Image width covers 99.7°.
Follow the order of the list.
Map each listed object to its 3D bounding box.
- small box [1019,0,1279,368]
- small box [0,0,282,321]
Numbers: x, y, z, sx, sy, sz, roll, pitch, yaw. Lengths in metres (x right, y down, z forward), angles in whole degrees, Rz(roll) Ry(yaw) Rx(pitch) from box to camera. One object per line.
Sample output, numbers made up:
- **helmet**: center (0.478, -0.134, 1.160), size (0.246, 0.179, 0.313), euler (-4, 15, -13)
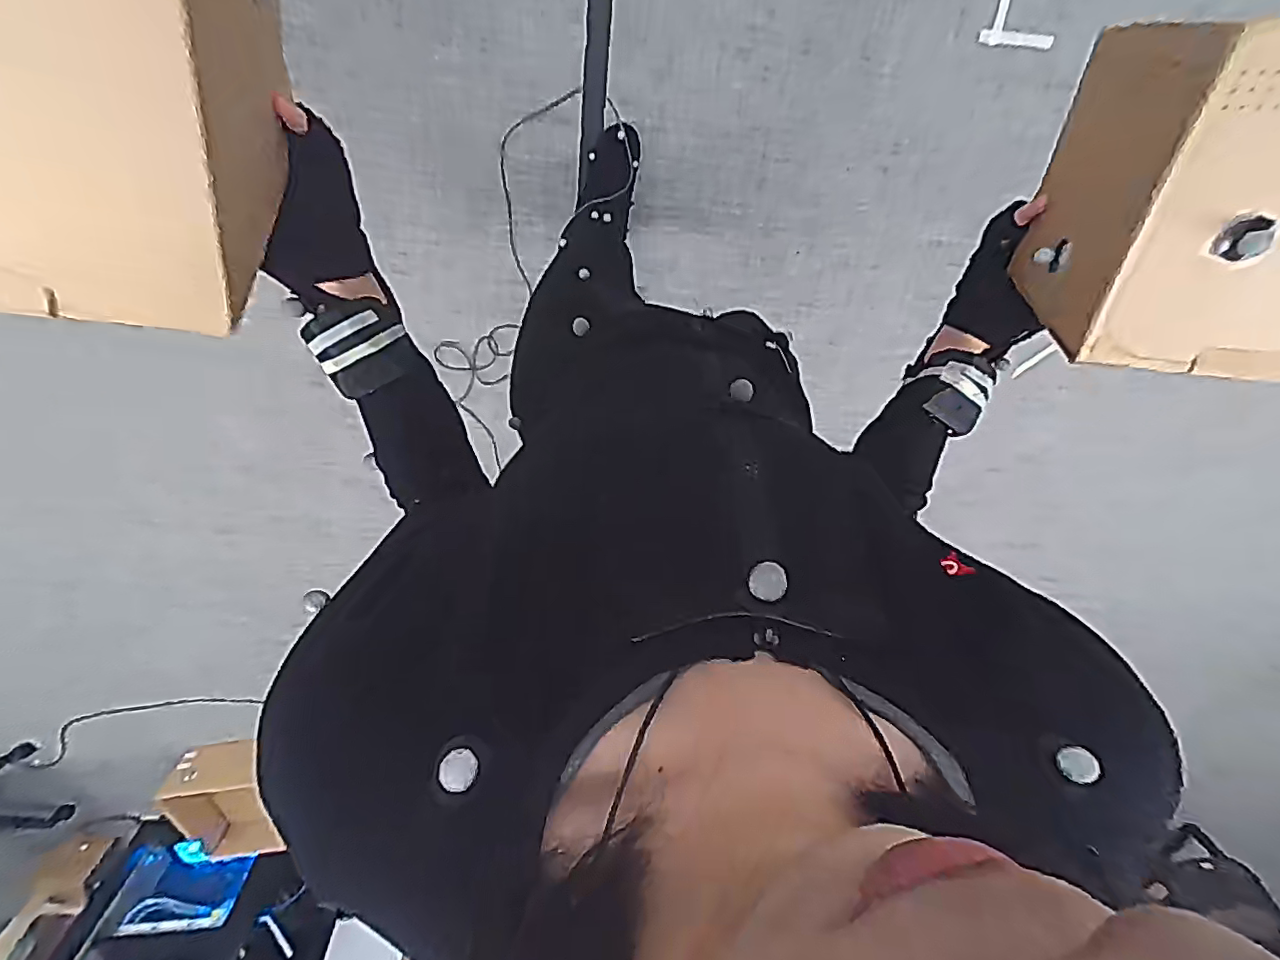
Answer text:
- **small box**: center (0.363, -0.178, 0.314), size (0.168, 0.179, 0.176), euler (9, 131, 14)
- **small box**: center (-0.243, -0.192, 0.197), size (0.168, 0.179, 0.176), euler (5, 139, -28)
